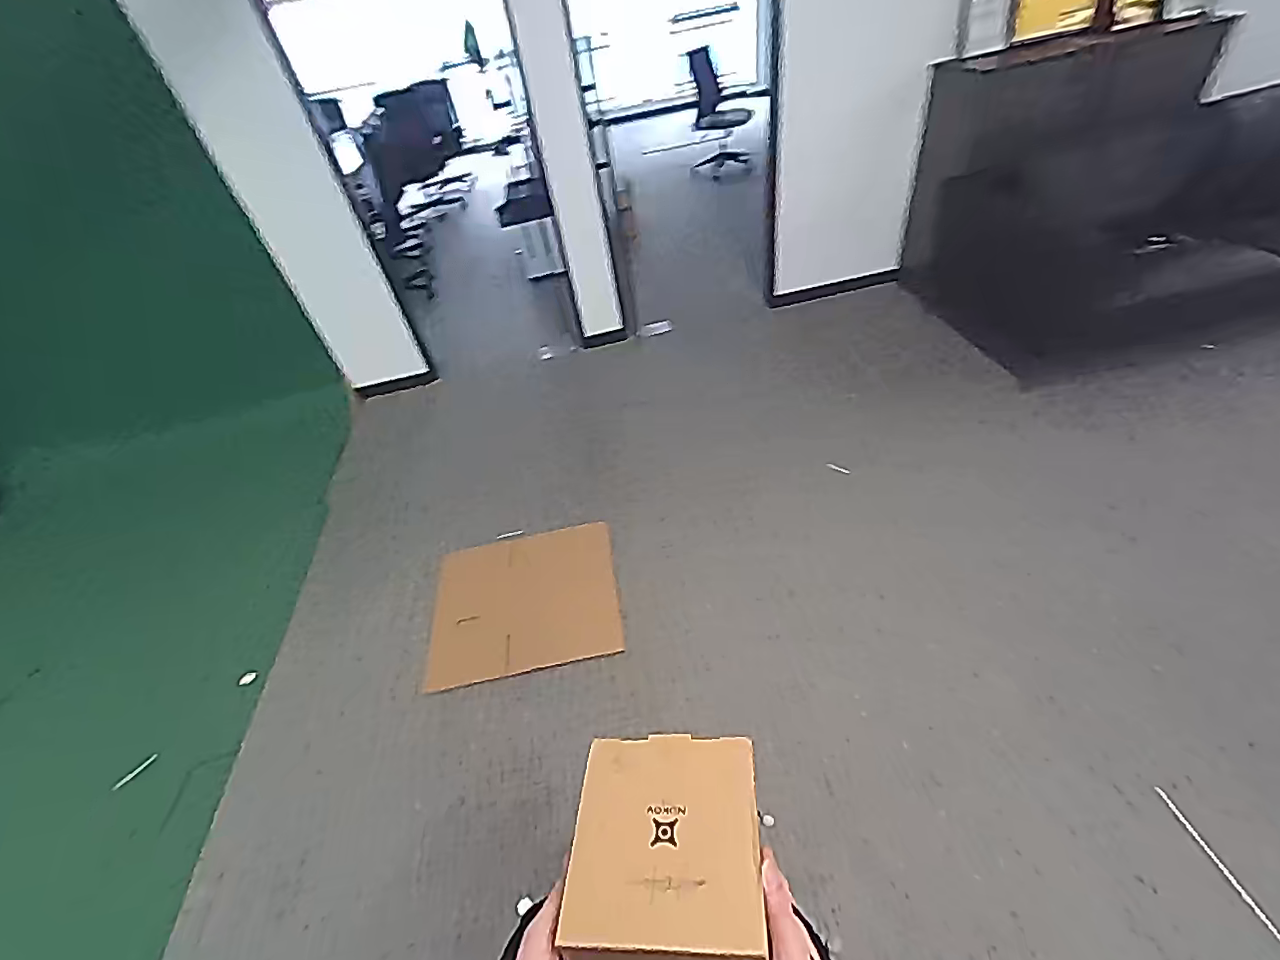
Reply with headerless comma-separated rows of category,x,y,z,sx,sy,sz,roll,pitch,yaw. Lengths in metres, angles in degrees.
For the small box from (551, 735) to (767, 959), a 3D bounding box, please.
small box,0.030,0.374,0.517,0.168,0.176,0.179,-6,30,9
